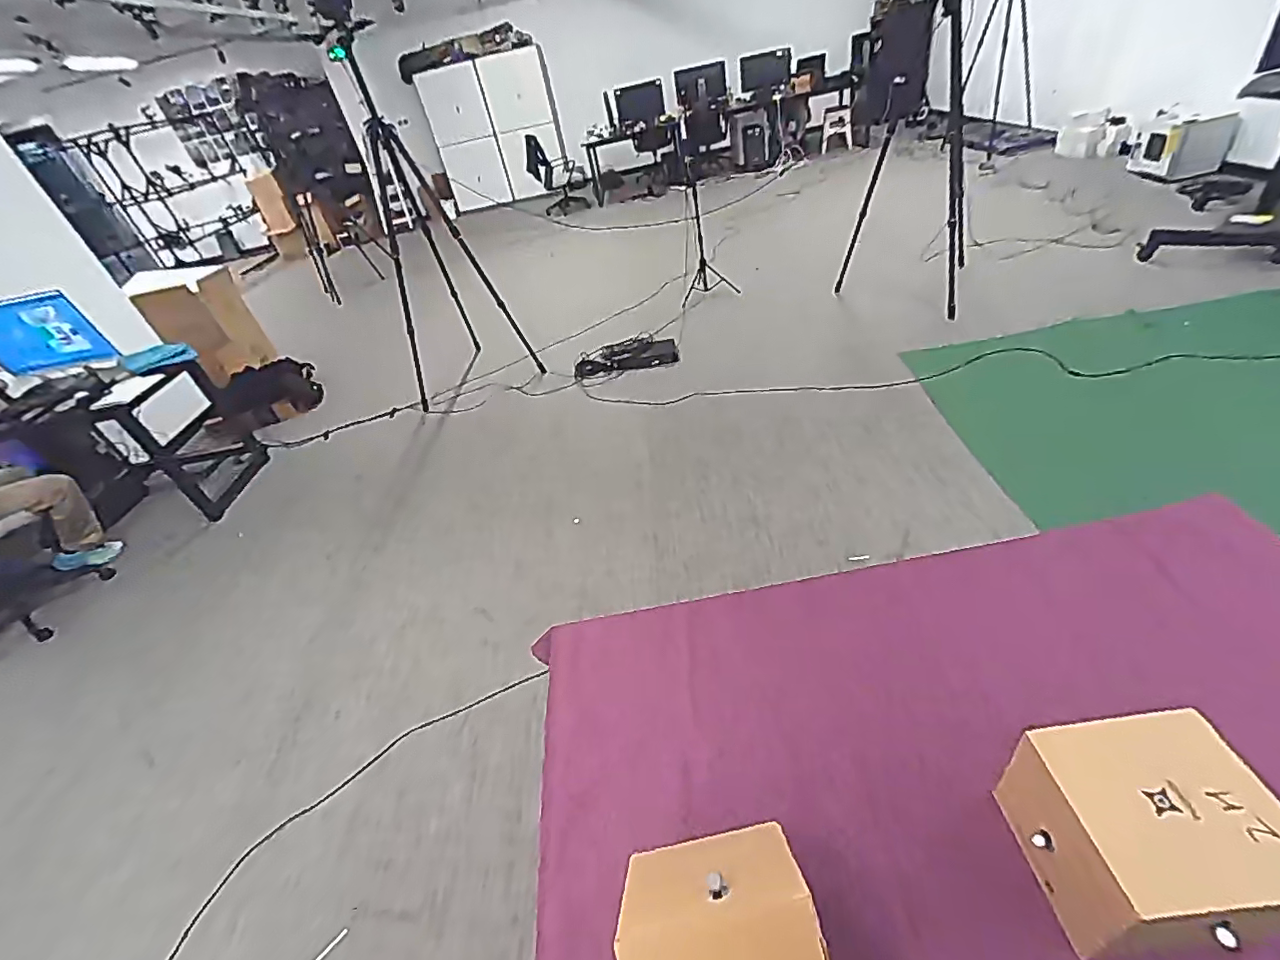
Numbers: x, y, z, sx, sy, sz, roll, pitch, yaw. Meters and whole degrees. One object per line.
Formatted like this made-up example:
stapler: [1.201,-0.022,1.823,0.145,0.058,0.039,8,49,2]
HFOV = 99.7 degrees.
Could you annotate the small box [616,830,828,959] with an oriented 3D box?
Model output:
small box: [0.084,0.471,0.520,0.179,0.176,0.168,-13,76,-1]

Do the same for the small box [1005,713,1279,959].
small box: [0.517,0.373,0.564,0.179,0.176,0.168,-10,38,5]
